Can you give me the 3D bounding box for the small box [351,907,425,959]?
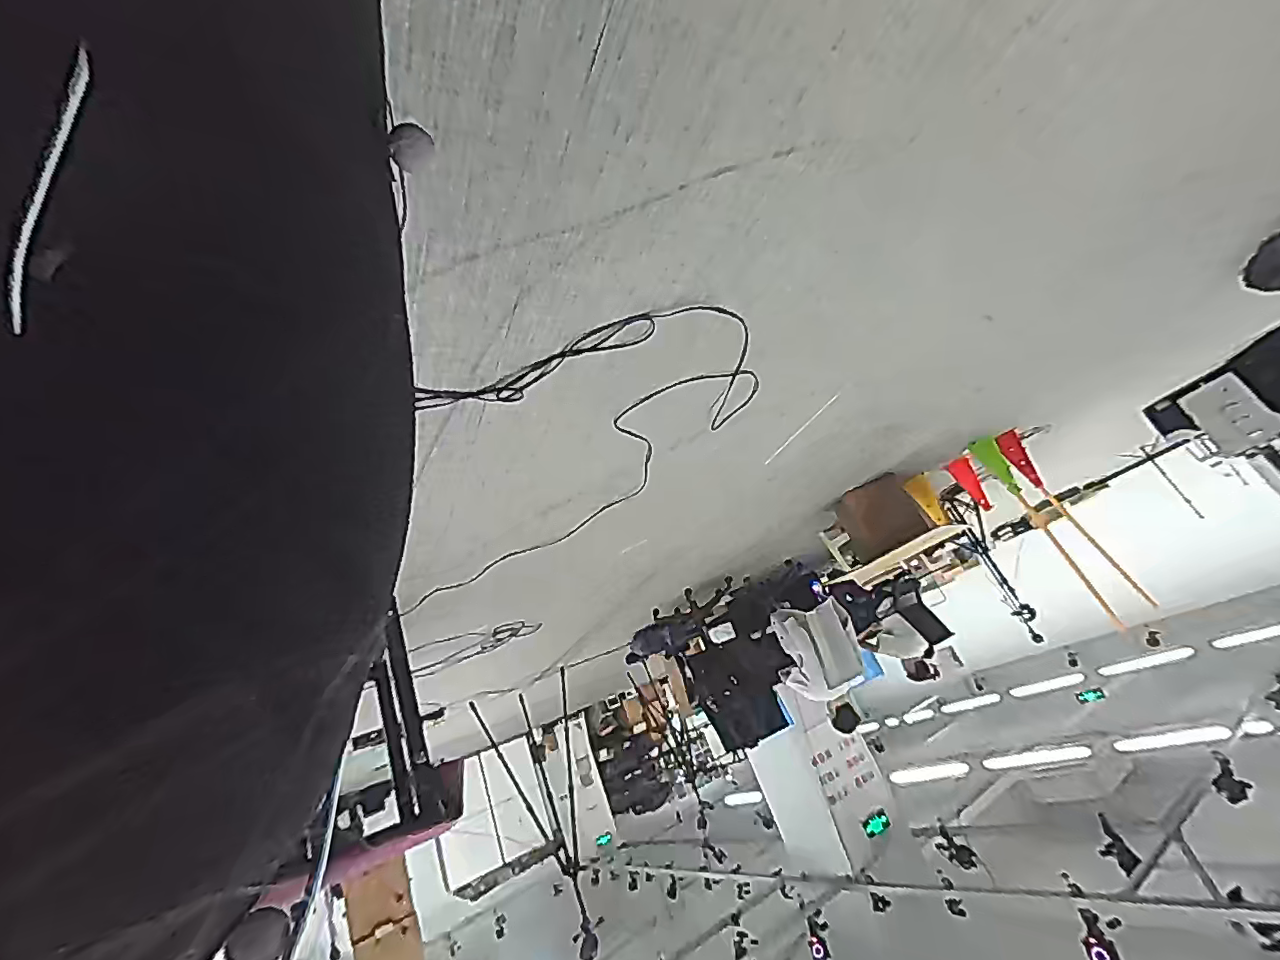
[{"bbox_3d":[-0.707,1.335,1.514,0.168,0.176,0.179,-4,151,-34],"label":"small box"}]
